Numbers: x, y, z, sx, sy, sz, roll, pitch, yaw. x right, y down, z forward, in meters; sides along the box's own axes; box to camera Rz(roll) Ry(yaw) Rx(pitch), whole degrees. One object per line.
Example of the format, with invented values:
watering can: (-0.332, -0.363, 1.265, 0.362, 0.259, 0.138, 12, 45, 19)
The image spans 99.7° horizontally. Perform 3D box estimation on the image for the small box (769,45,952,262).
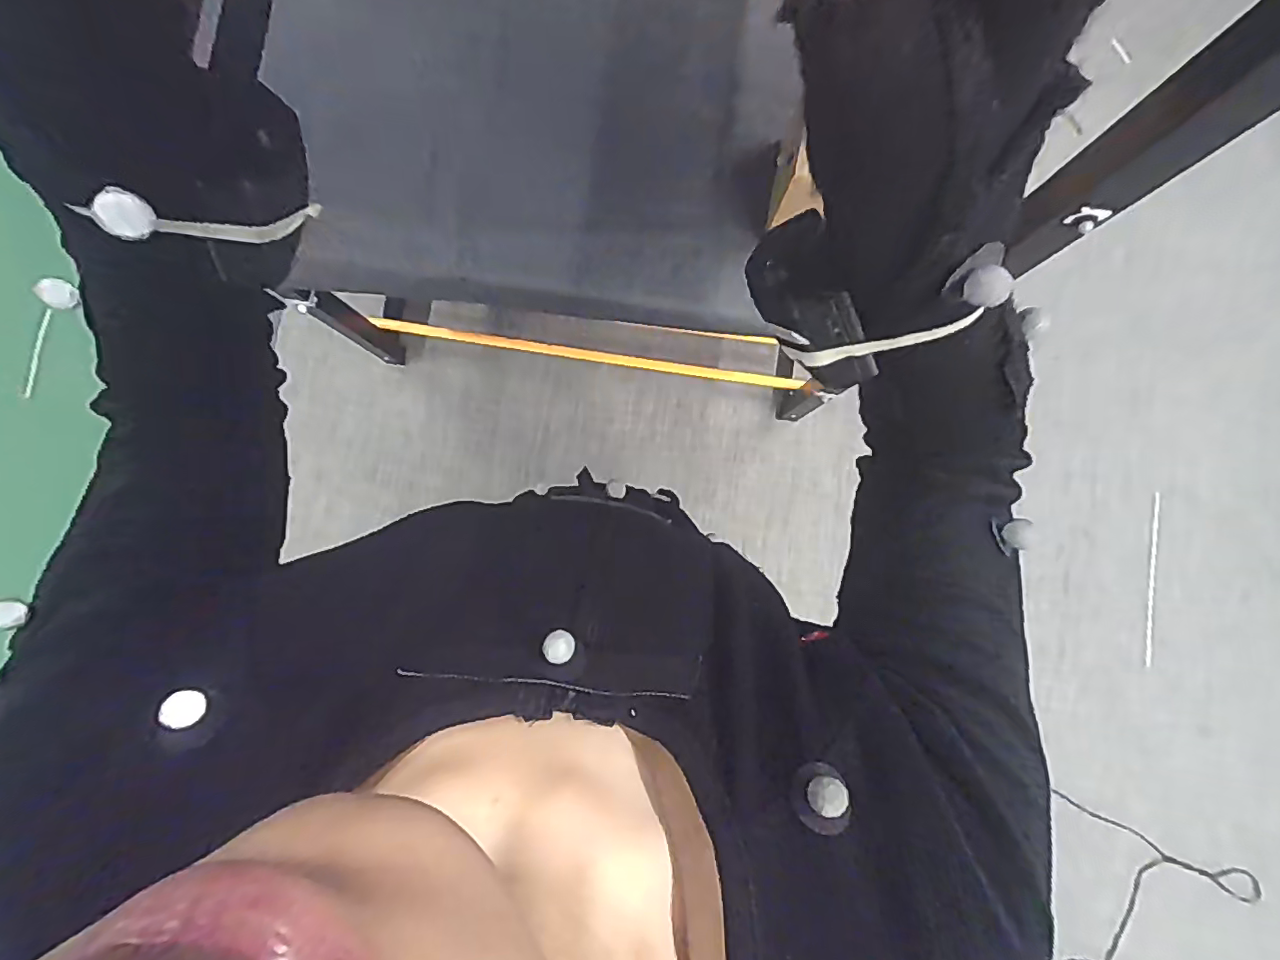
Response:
small box: (0.281, -0.422, 0.729, 0.168, 0.176, 0.179, 12, 85, 0)
